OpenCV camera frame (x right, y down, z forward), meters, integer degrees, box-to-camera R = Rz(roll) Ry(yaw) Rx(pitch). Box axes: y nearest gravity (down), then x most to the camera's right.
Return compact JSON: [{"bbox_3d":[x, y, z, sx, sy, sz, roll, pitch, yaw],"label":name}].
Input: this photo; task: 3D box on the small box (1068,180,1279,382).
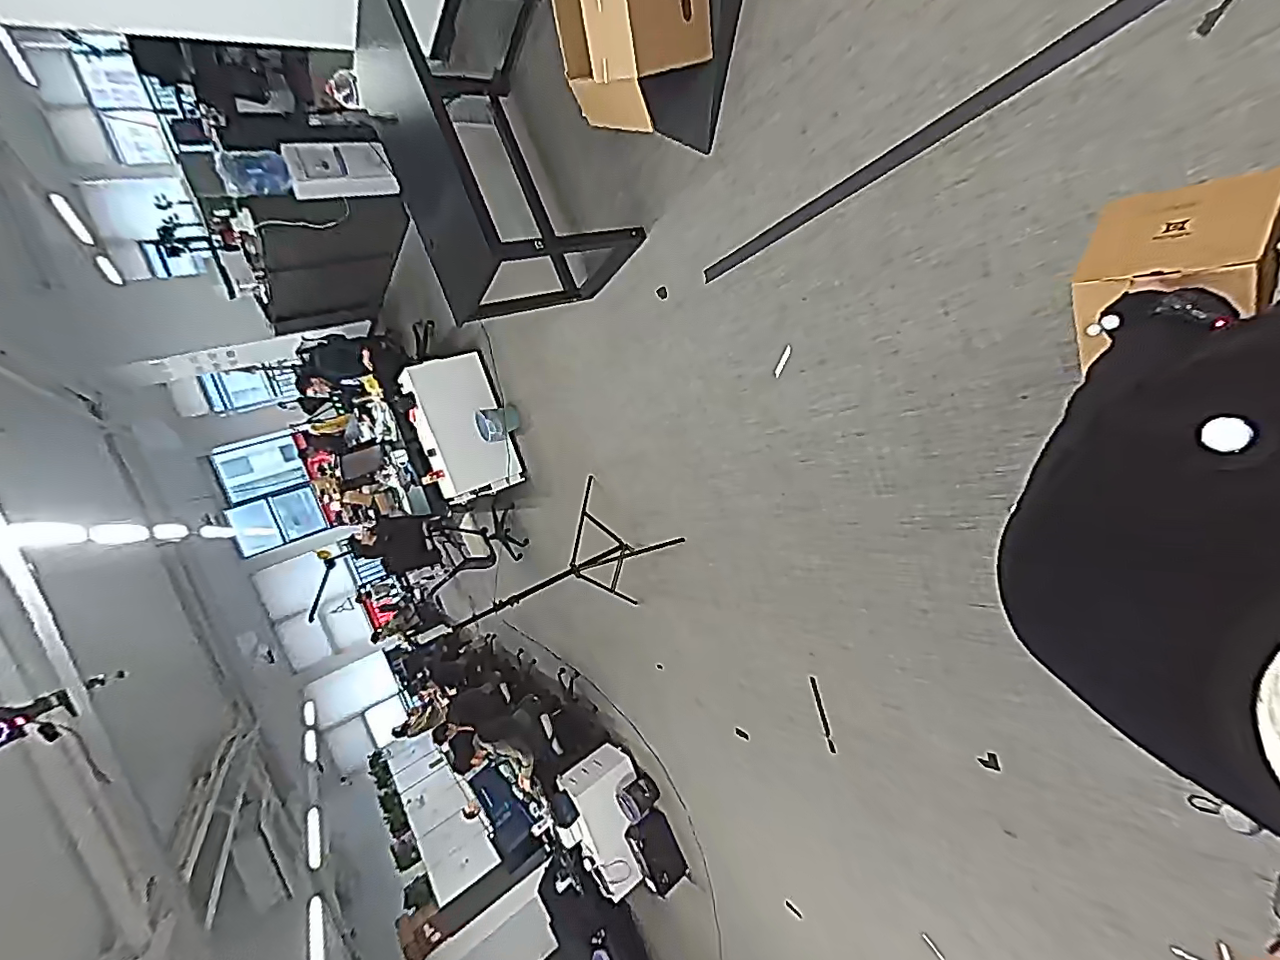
[{"bbox_3d":[0.698,-0.245,0.708,0.168,0.179,0.176,15,152,51],"label":"small box"}]
